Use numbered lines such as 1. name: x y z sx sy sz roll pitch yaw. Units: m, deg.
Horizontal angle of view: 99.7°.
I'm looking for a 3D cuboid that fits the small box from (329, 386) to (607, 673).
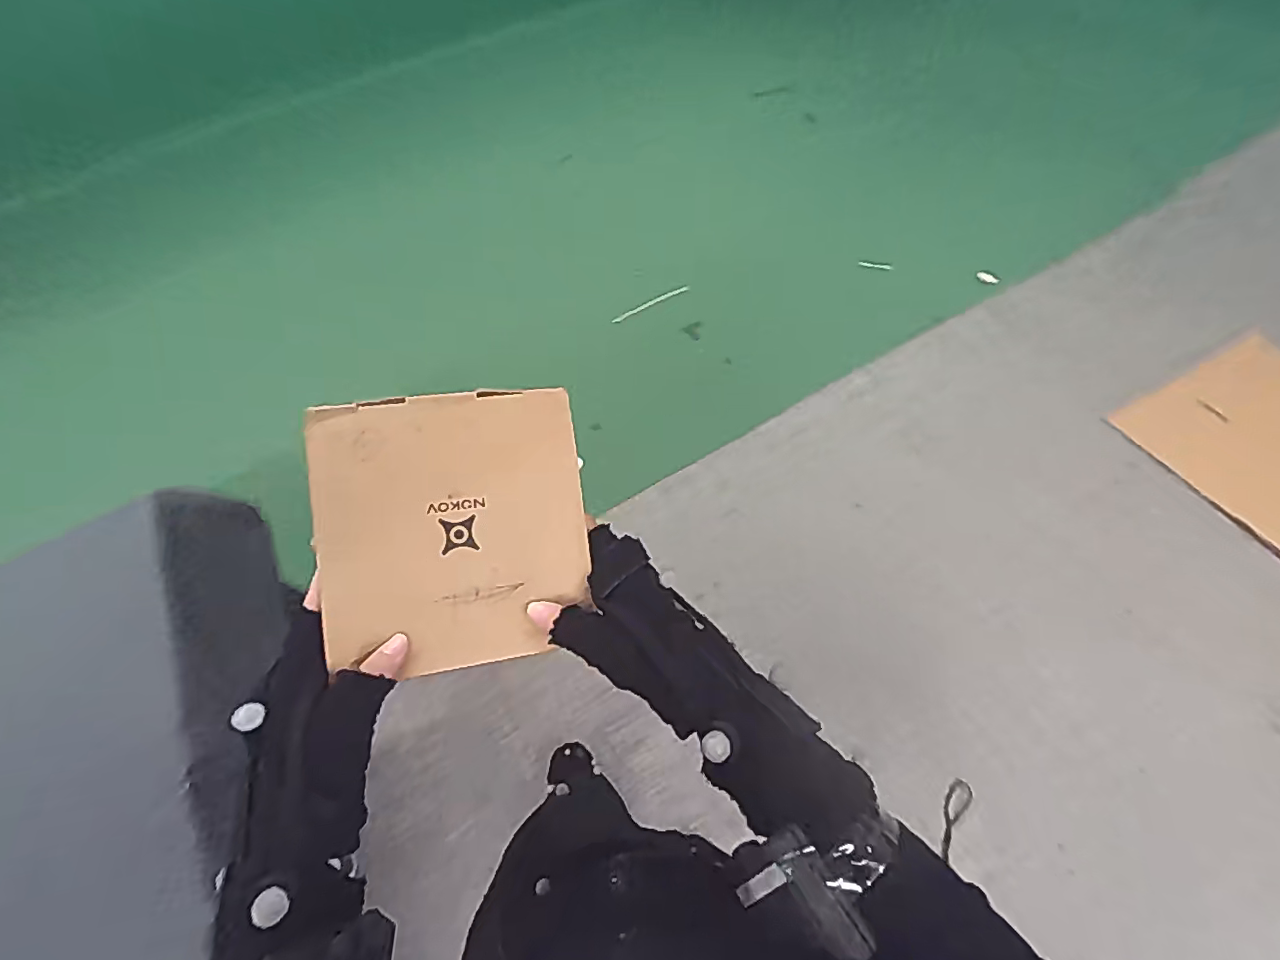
1. small box: -0.129 0.036 0.434 0.168 0.176 0.179 -6 85 -13
